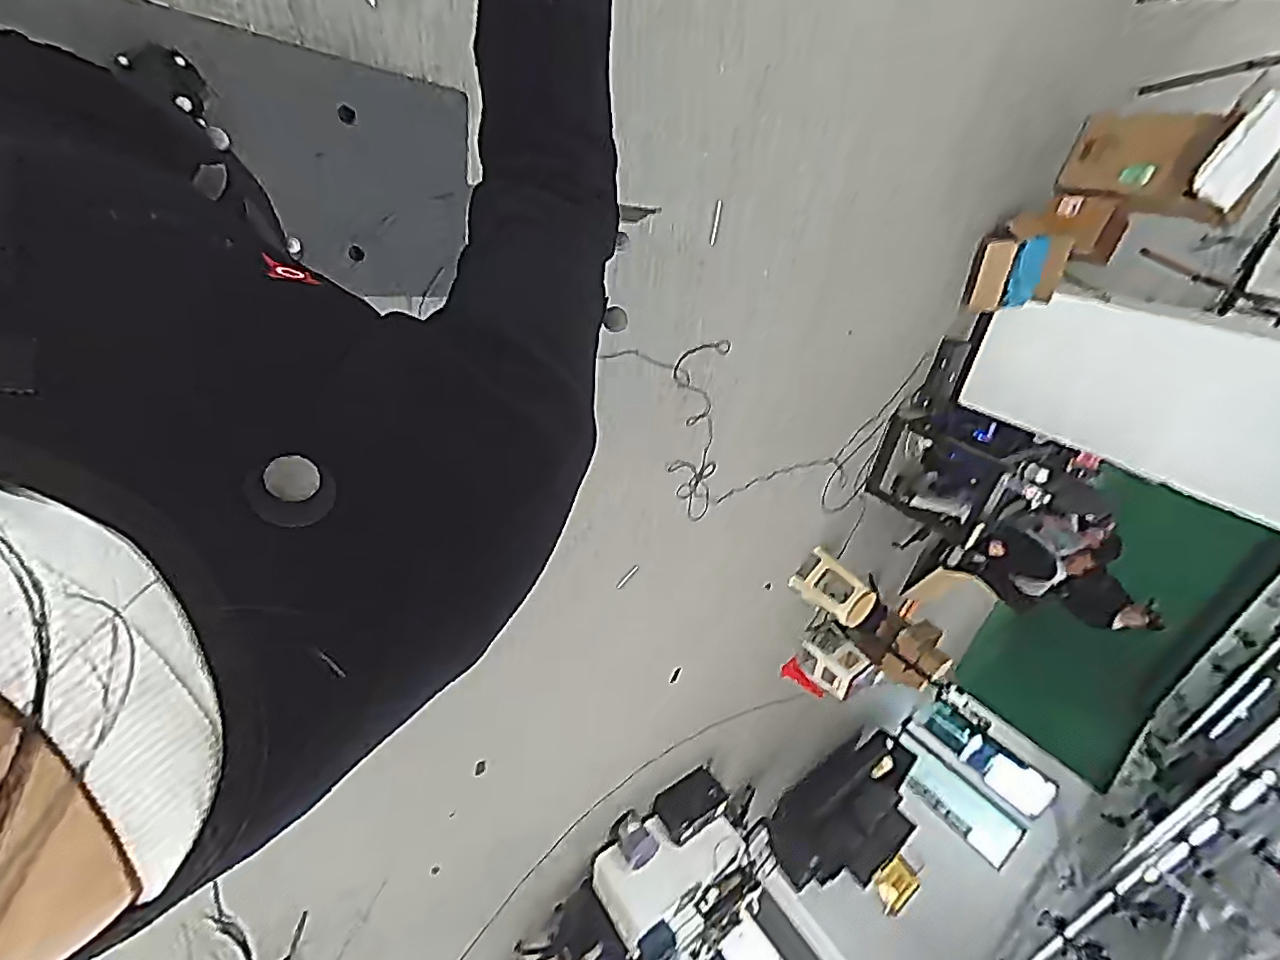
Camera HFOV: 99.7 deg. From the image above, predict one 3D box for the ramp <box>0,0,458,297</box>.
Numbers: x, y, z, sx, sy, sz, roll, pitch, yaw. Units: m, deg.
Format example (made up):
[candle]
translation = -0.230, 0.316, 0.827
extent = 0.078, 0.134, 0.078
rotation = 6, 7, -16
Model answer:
[ramp]
translation = -0.822, -0.627, 1.091
extent = 0.991, 0.206, 0.509
rotation = -14, 125, -36
